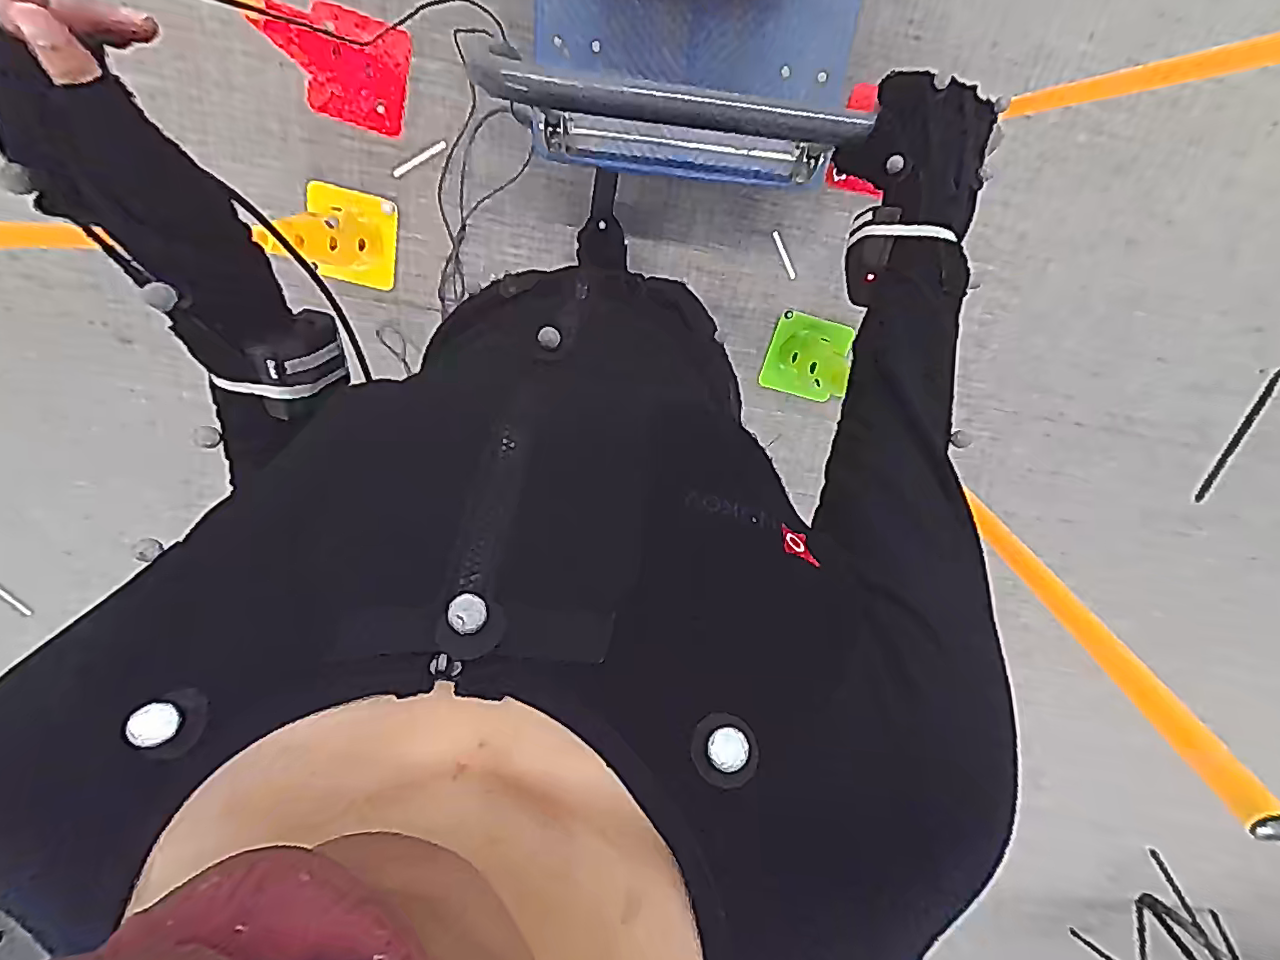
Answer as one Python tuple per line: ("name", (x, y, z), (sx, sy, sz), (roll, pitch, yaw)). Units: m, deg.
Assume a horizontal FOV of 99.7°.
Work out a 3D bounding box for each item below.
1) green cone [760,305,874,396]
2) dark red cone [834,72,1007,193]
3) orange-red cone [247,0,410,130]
("green cone", (0.432, -0.257, 1.232), (0.202, 0.368, 0.200), (13, 114, -8))
("dark red cone", (0.545, -0.680, 1.022), (0.201, 0.394, 0.202), (9, 115, -7))
("orange-red cone", (-0.582, -0.797, 0.966), (0.198, 0.360, 0.199), (16, 112, -10))
